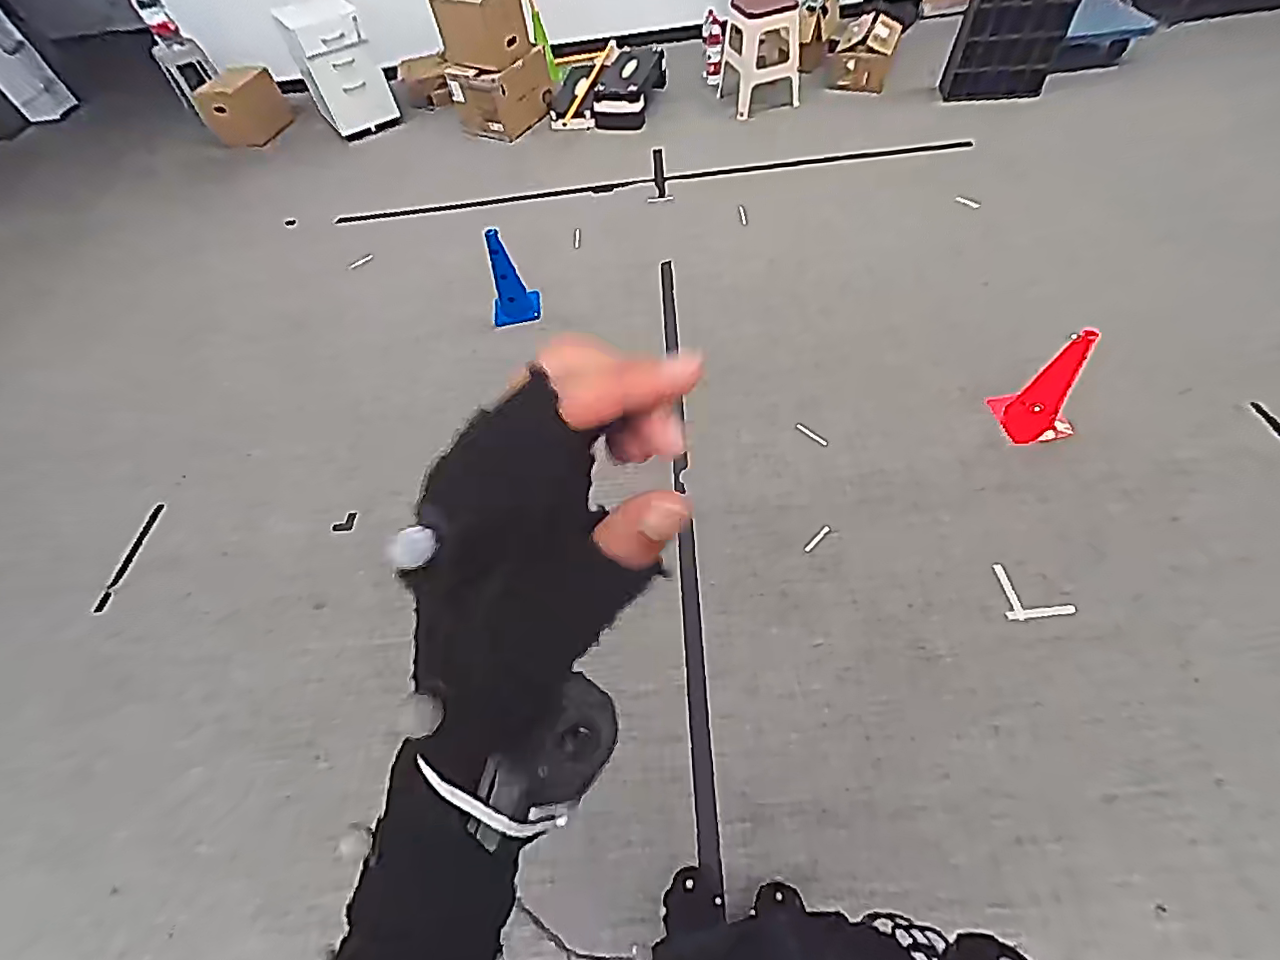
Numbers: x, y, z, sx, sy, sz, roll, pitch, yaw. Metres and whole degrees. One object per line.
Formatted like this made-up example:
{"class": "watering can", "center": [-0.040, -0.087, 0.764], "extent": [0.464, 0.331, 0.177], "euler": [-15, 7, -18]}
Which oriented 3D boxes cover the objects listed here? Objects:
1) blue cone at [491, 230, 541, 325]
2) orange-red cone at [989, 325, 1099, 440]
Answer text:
{"class": "blue cone", "center": [-0.541, -0.837, 2.210], "extent": [0.192, 0.380, 0.193], "euler": [-9, 55, 1]}
{"class": "orange-red cone", "center": [1.250, -0.312, 1.618], "extent": [0.198, 0.360, 0.199], "euler": [-8, 54, 1]}
